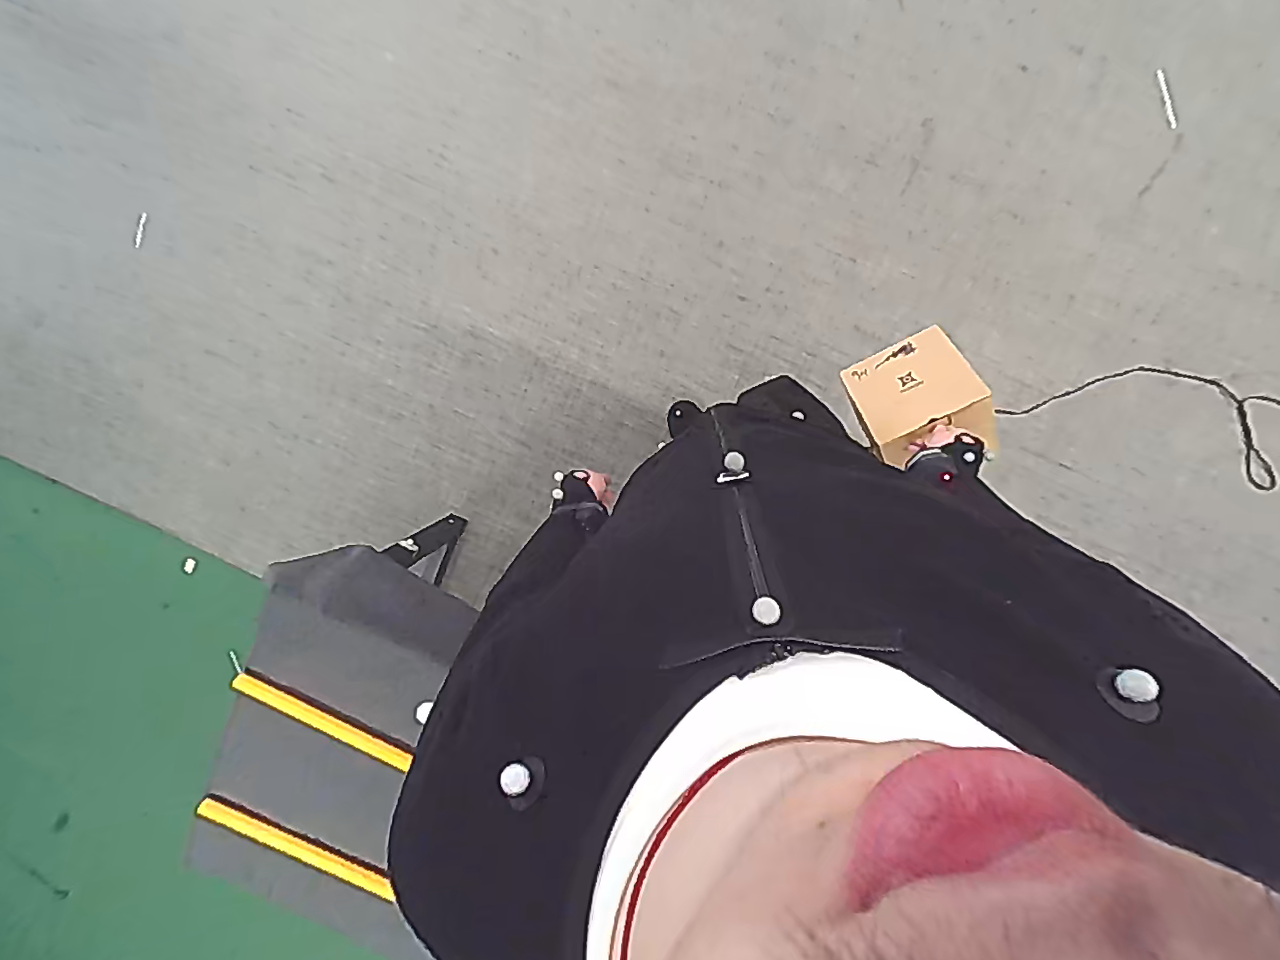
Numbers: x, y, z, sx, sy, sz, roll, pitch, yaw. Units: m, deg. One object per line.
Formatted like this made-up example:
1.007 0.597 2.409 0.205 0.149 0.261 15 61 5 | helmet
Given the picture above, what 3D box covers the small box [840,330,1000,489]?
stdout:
0.467 -0.105 0.902 0.168 0.179 0.176 -30 137 20 | small box
